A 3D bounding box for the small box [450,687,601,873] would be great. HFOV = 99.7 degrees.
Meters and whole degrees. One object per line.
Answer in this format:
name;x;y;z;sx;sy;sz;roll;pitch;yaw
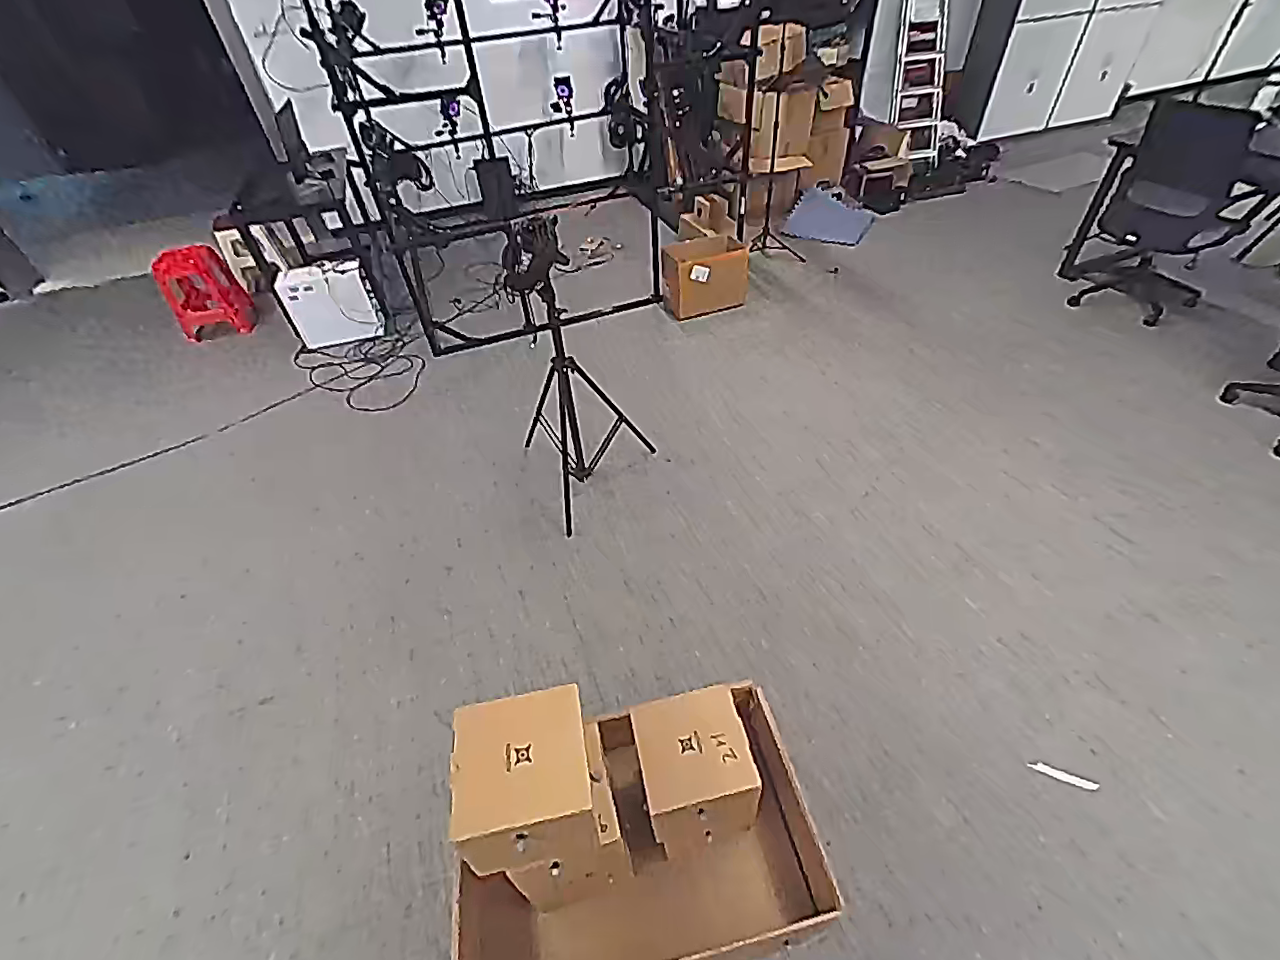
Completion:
small box;-0.152;0.419;0.756;0.179;0.176;0.168;-10;44;-7
